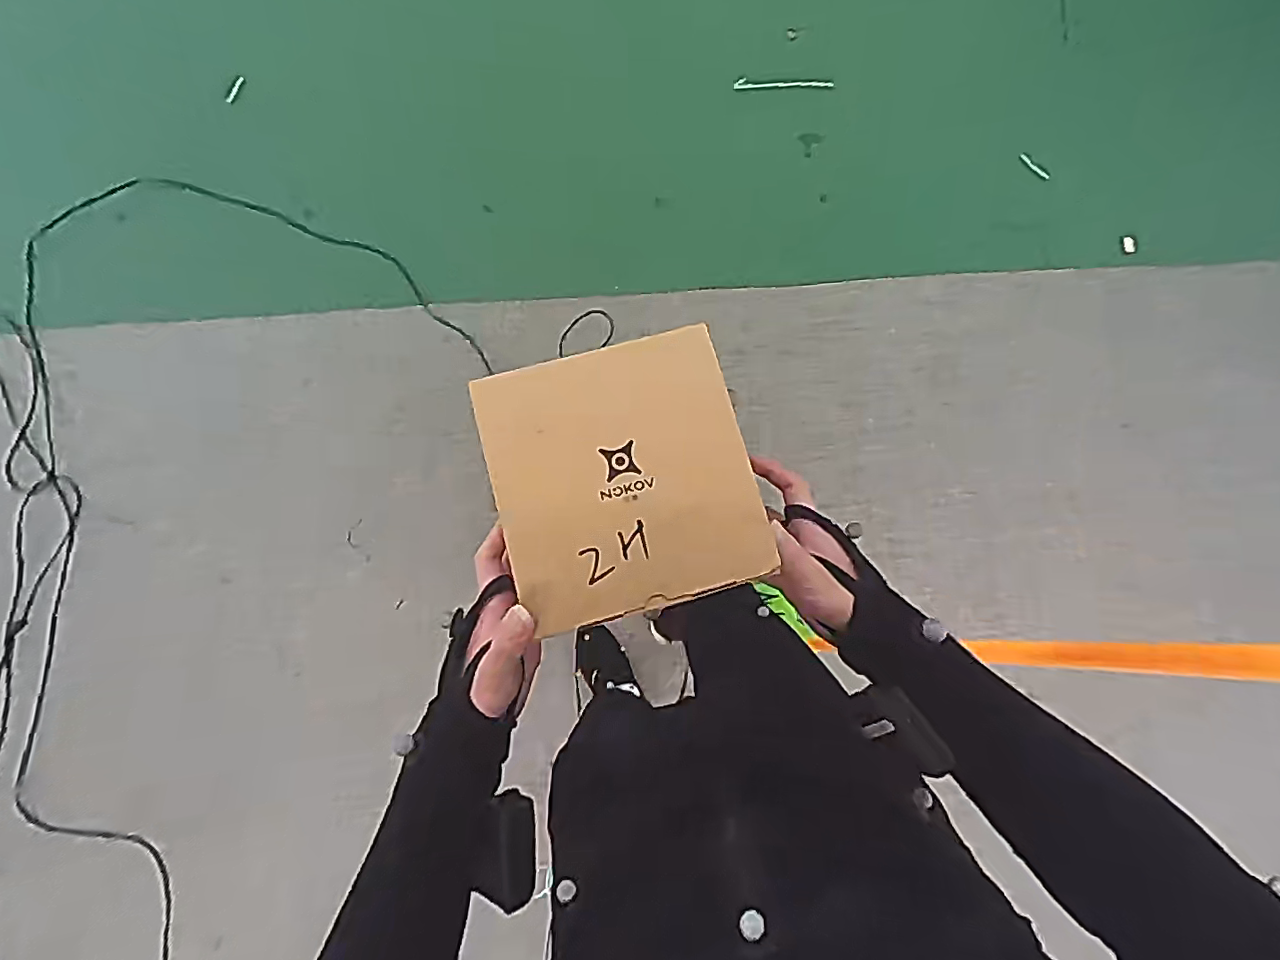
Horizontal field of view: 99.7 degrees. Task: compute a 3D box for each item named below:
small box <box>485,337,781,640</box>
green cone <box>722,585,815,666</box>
[{"bbox_3d":[-0.010,0.014,0.434,0.168,0.176,0.179,-14,82,-3],"label":"small box"},{"bbox_3d":[0.333,0.362,1.269,0.202,0.368,0.200,-5,82,-3],"label":"green cone"}]
